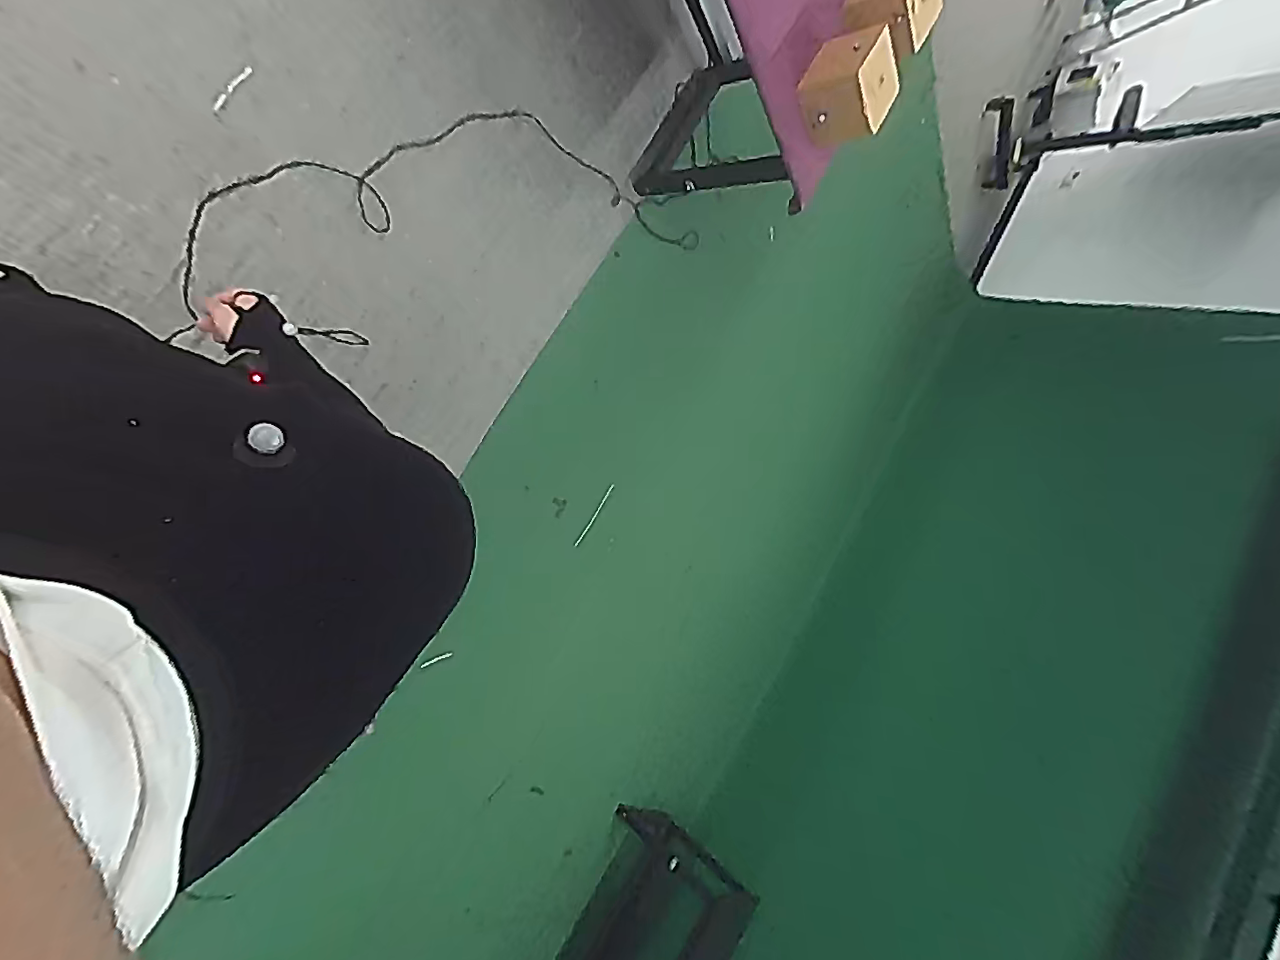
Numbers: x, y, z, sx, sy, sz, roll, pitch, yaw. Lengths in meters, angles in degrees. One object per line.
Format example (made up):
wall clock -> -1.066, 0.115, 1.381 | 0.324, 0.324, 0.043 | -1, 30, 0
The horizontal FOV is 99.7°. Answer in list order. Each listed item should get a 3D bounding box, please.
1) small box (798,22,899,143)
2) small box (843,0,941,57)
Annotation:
small box -> 0.531, -1.003, 1.378 | 0.168, 0.176, 0.179 | 42, 75, -45
small box -> 0.660, -1.245, 1.415 | 0.168, 0.176, 0.179 | 39, 77, -46
